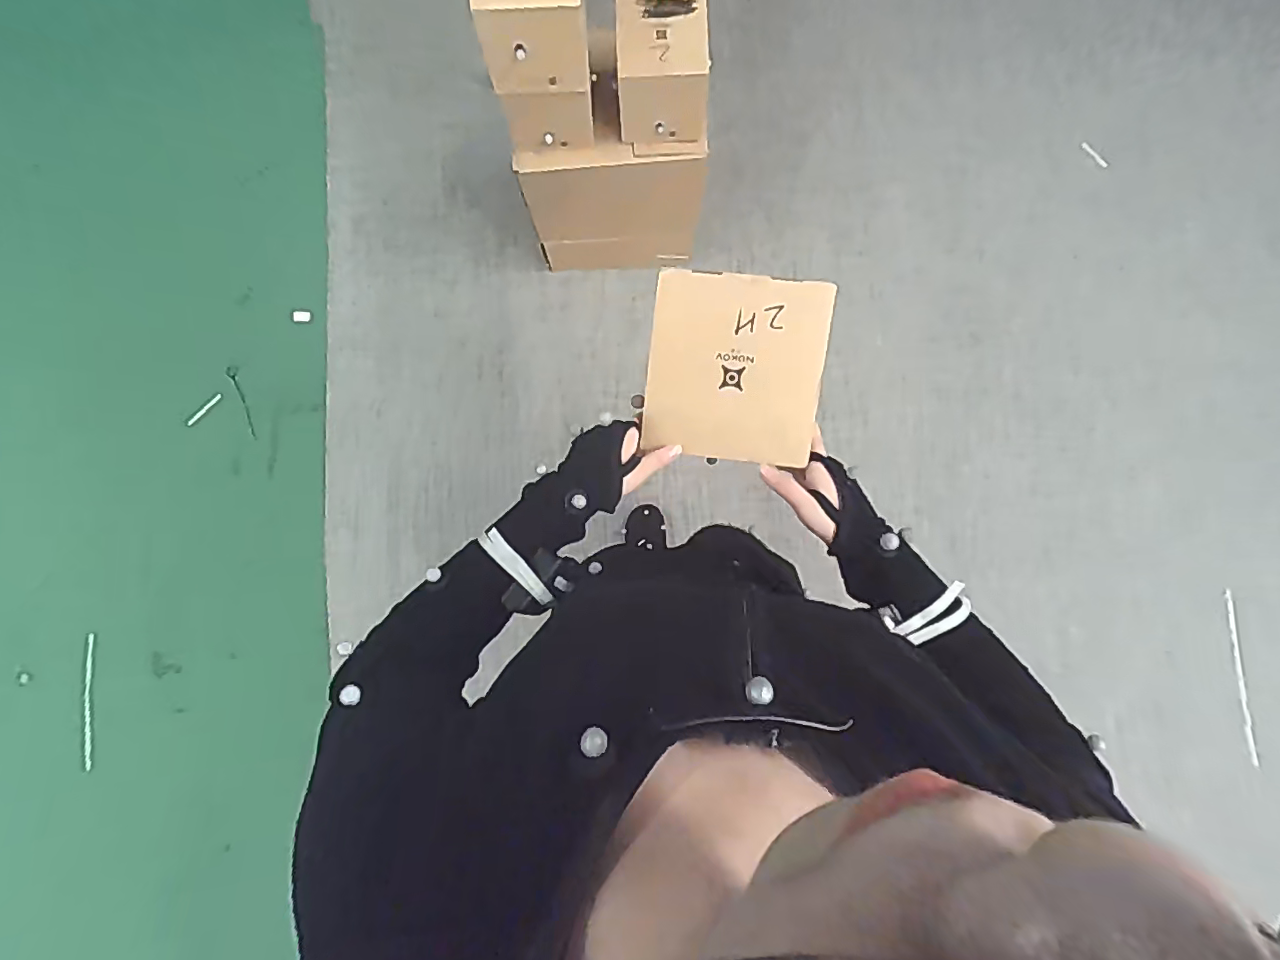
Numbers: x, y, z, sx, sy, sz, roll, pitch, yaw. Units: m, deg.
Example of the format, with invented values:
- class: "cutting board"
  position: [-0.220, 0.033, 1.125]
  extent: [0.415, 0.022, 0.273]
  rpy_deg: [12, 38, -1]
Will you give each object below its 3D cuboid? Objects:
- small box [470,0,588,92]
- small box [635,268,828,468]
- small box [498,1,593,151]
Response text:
- class: "small box"
  position: [-0.176, -0.774, 0.887]
  extent: [0.168, 0.176, 0.179]
  rpy_deg: [-3, 87, -2]
- class: "small box"
  position: [0.094, -0.120, 0.604]
  extent: [0.168, 0.176, 0.179]
  rpy_deg: [8, 99, 4]
- class: "small box"
  position: [-0.179, -0.776, 1.050]
  extent: [0.168, 0.176, 0.179]
  rpy_deg: [-3, 88, -2]
